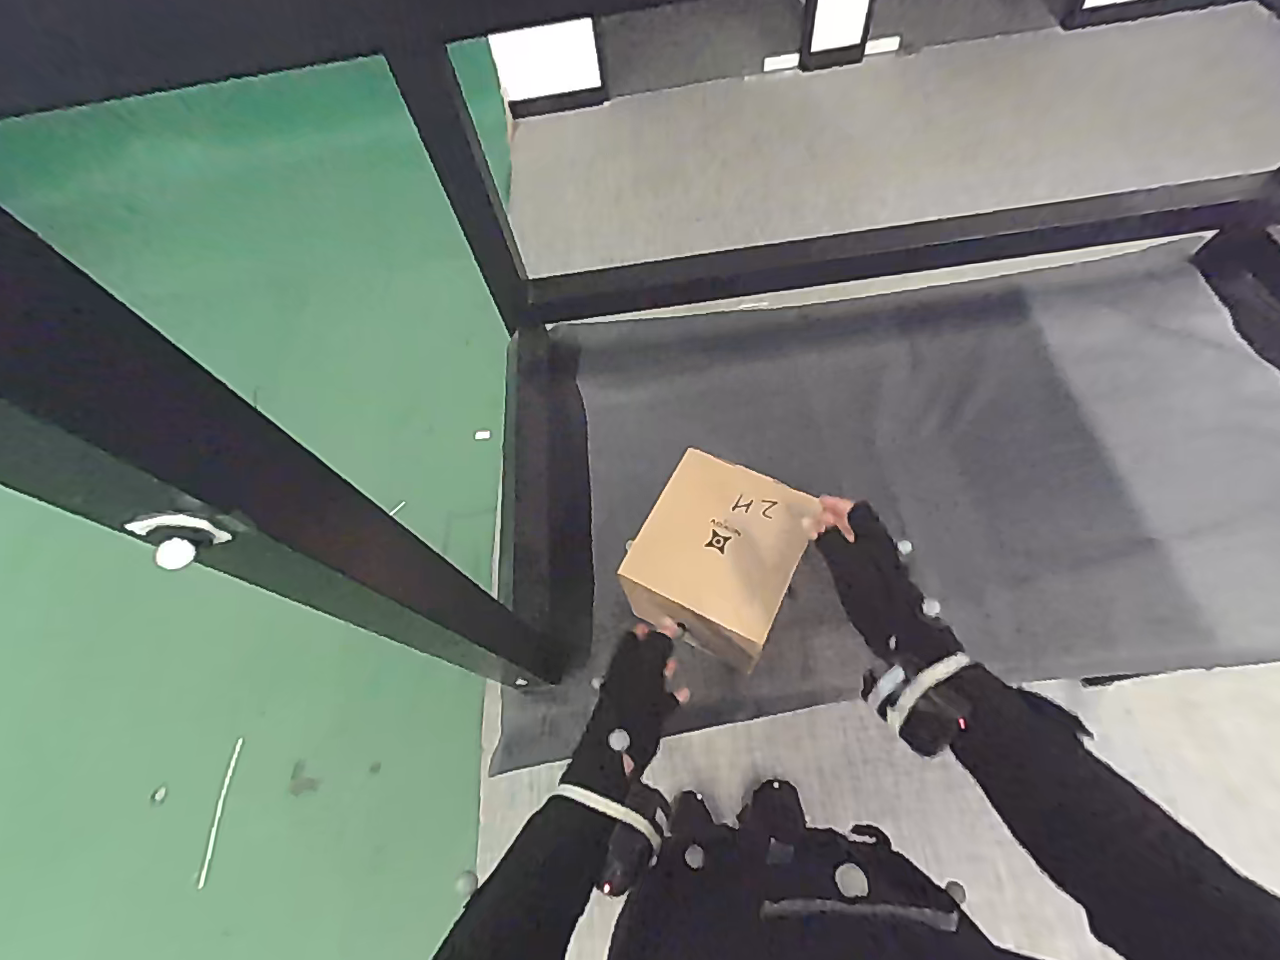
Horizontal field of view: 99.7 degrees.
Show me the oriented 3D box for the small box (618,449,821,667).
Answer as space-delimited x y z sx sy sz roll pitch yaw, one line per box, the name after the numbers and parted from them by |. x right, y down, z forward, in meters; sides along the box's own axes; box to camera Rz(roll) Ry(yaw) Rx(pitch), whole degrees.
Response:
0.095 0.100 0.649 0.168 0.176 0.179 24 66 18 | small box
